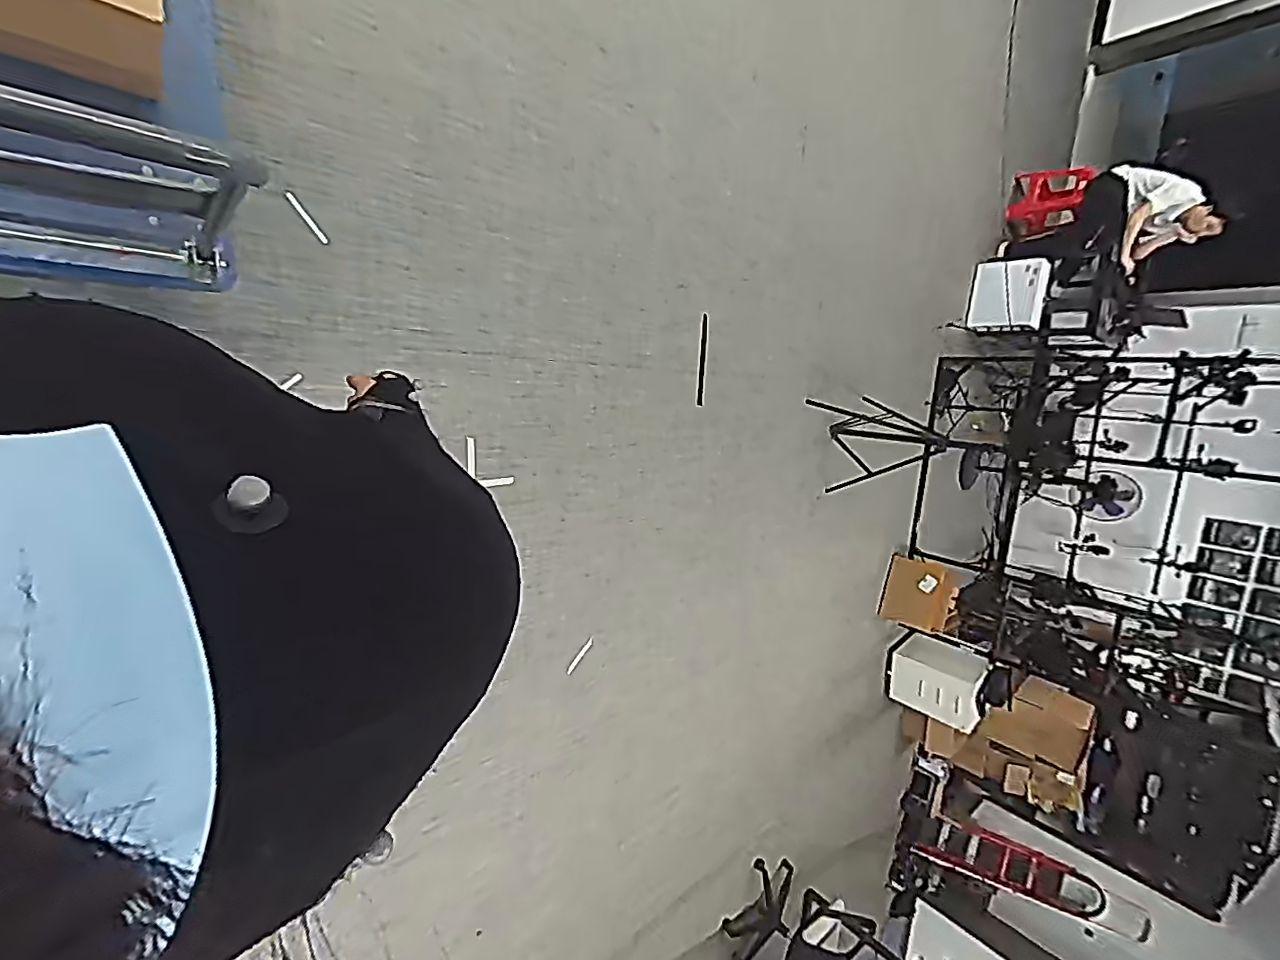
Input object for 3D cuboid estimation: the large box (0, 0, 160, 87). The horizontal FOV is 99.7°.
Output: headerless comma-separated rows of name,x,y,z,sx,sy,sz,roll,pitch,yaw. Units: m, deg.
large box,-0.874,-0.774,0.664,0.408,0.320,0.320,-5,102,-41
